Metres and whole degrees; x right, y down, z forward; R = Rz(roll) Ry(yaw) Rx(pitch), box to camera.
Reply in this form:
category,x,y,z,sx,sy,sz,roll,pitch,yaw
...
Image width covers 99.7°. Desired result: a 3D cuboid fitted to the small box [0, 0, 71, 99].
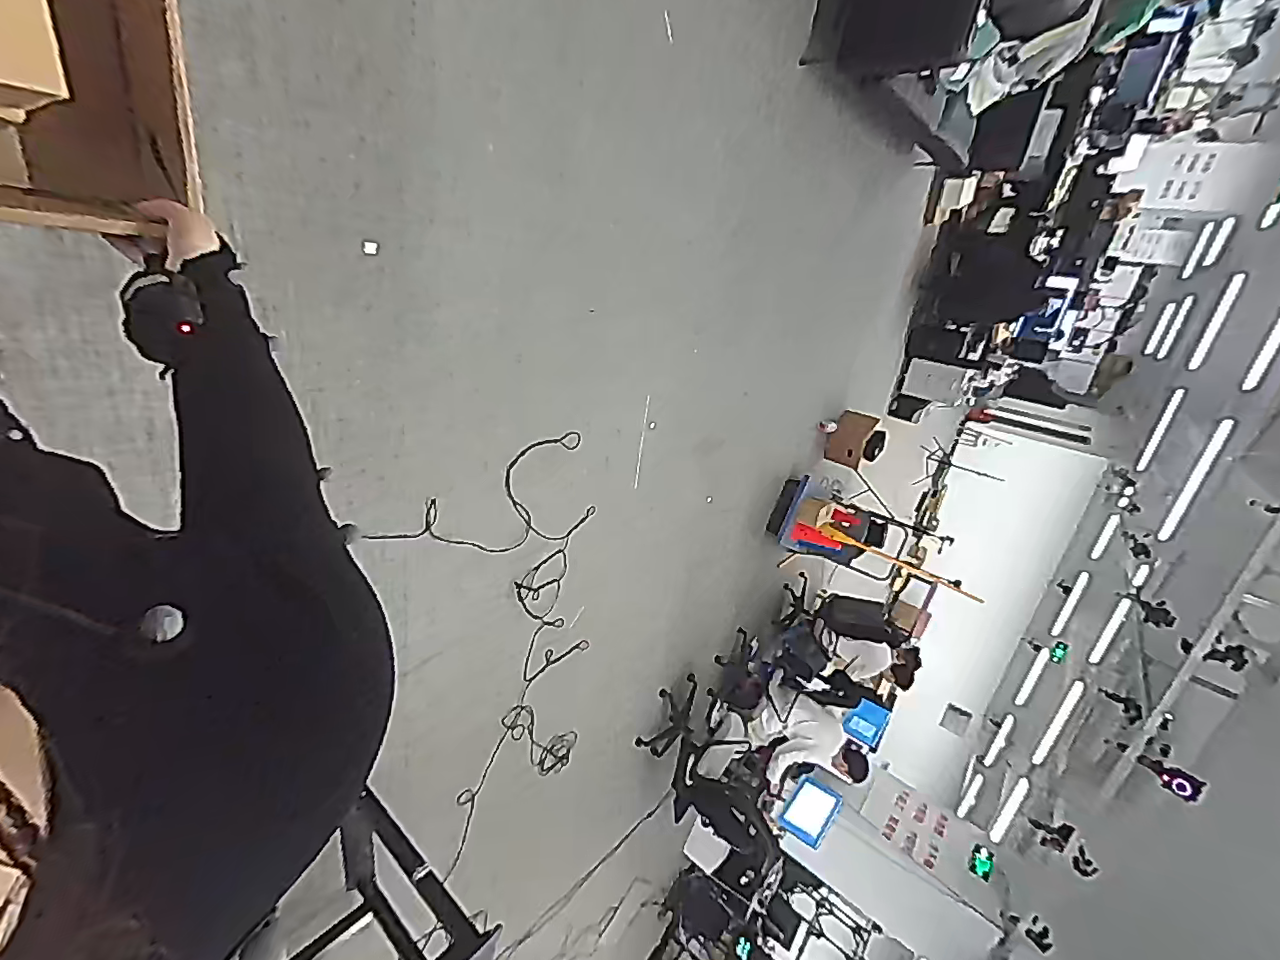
category,x,y,z,sx,sy,sz,roll,pitch,yaw
small box,-0.437,-0.306,0.266,0.179,0.176,0.168,-21,126,-48
